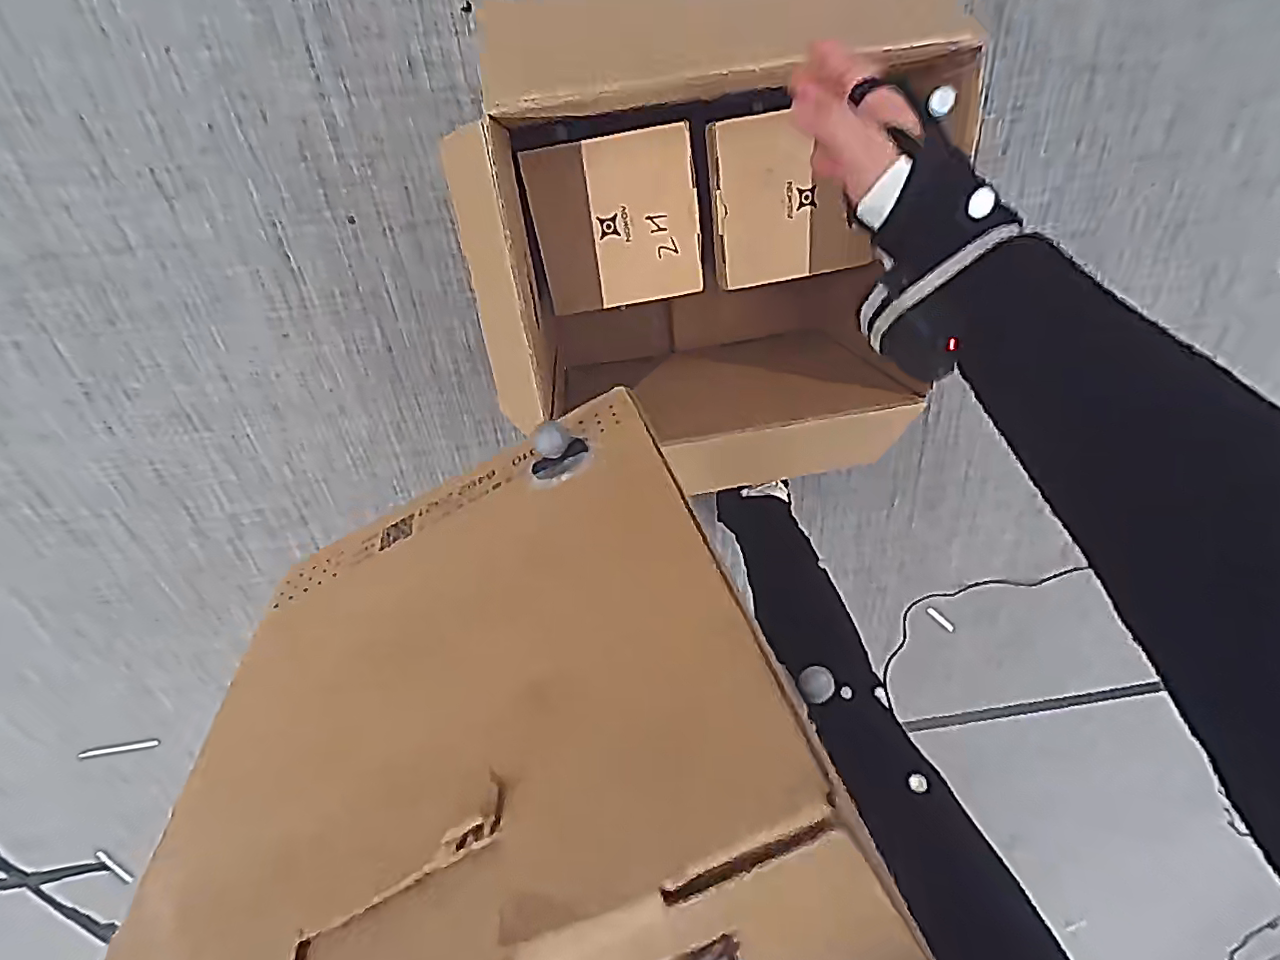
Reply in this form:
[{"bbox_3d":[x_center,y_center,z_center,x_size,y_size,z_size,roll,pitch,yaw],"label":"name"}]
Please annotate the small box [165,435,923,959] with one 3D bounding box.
[{"bbox_3d":[-0.024,0.105,0.210,0.168,0.176,0.179,-28,126,4],"label":"small box"}]
